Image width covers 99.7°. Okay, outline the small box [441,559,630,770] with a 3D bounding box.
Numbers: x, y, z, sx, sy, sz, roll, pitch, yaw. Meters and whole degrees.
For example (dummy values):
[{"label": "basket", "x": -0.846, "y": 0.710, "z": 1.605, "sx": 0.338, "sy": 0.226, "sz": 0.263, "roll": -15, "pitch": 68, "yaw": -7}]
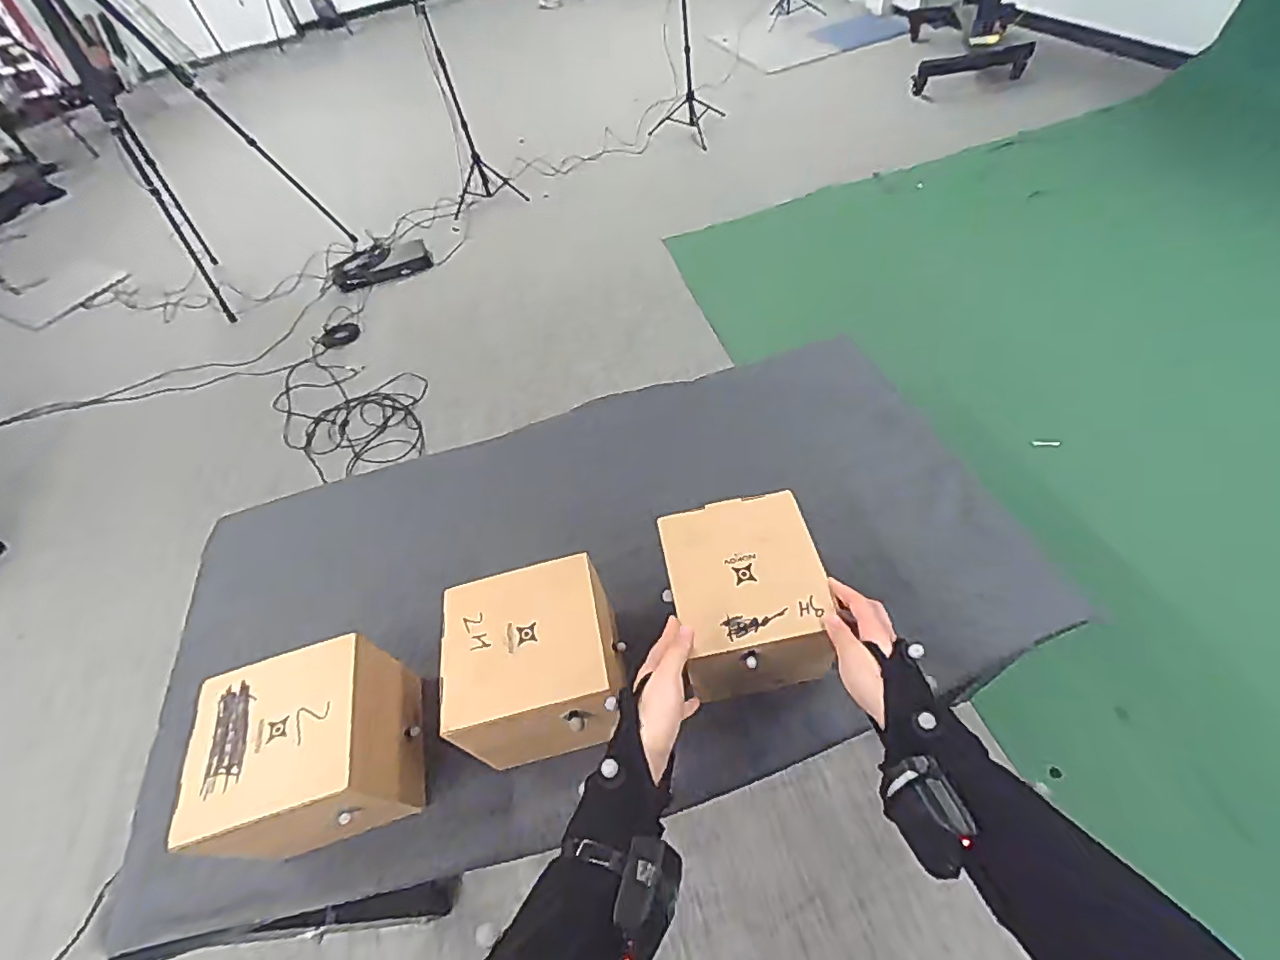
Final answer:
[{"label": "small box", "x": -0.114, "y": 0.222, "z": 0.641, "sx": 0.179, "sy": 0.176, "sz": 0.168, "roll": -15, "pitch": 50, "yaw": 0}]
